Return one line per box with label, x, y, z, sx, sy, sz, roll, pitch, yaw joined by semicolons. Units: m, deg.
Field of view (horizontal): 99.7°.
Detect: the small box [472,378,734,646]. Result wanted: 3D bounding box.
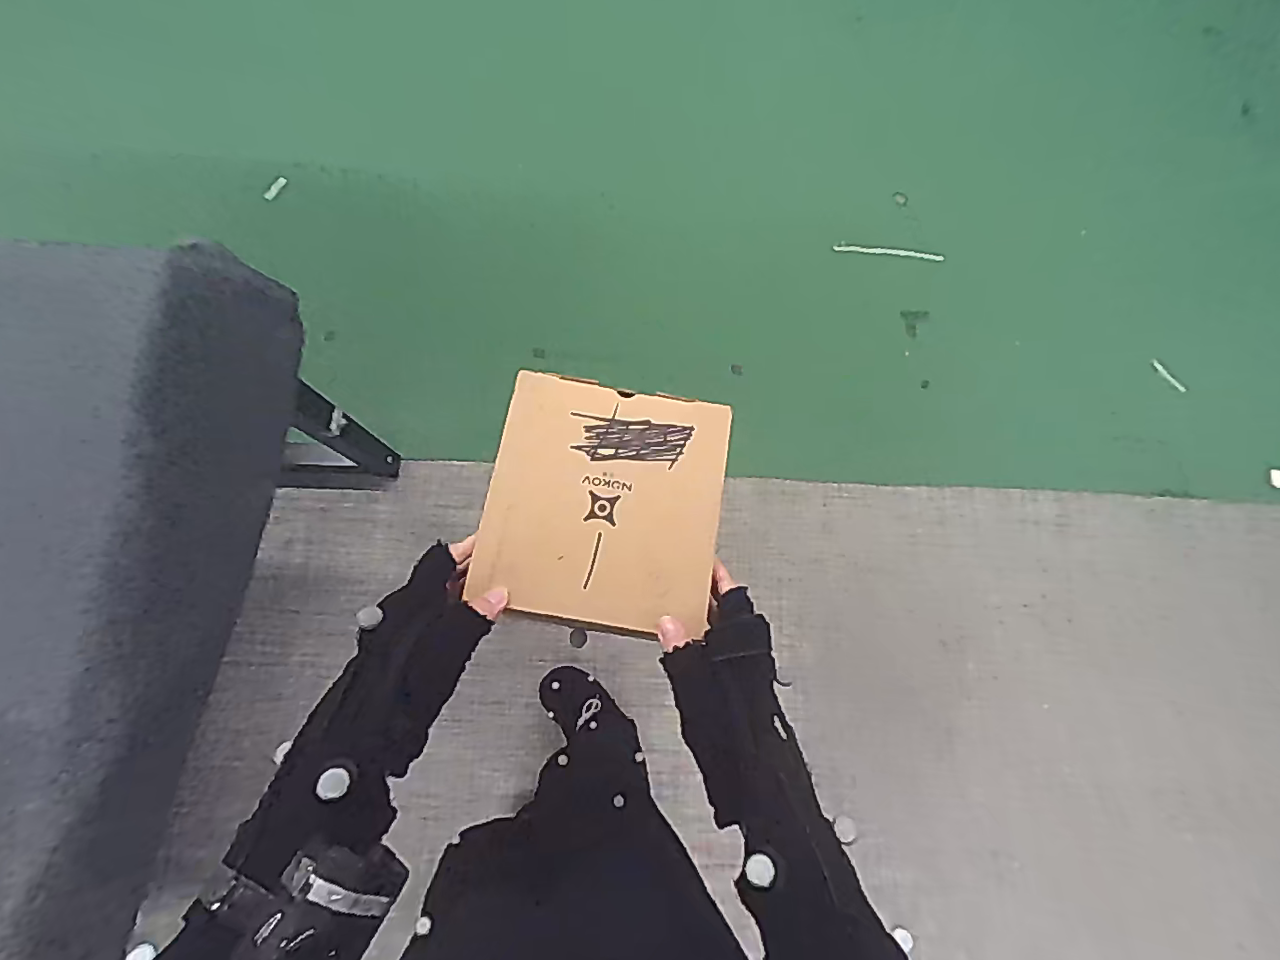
small box;-0.026;0.040;0.469;0.168;0.176;0.179;10;73;0
